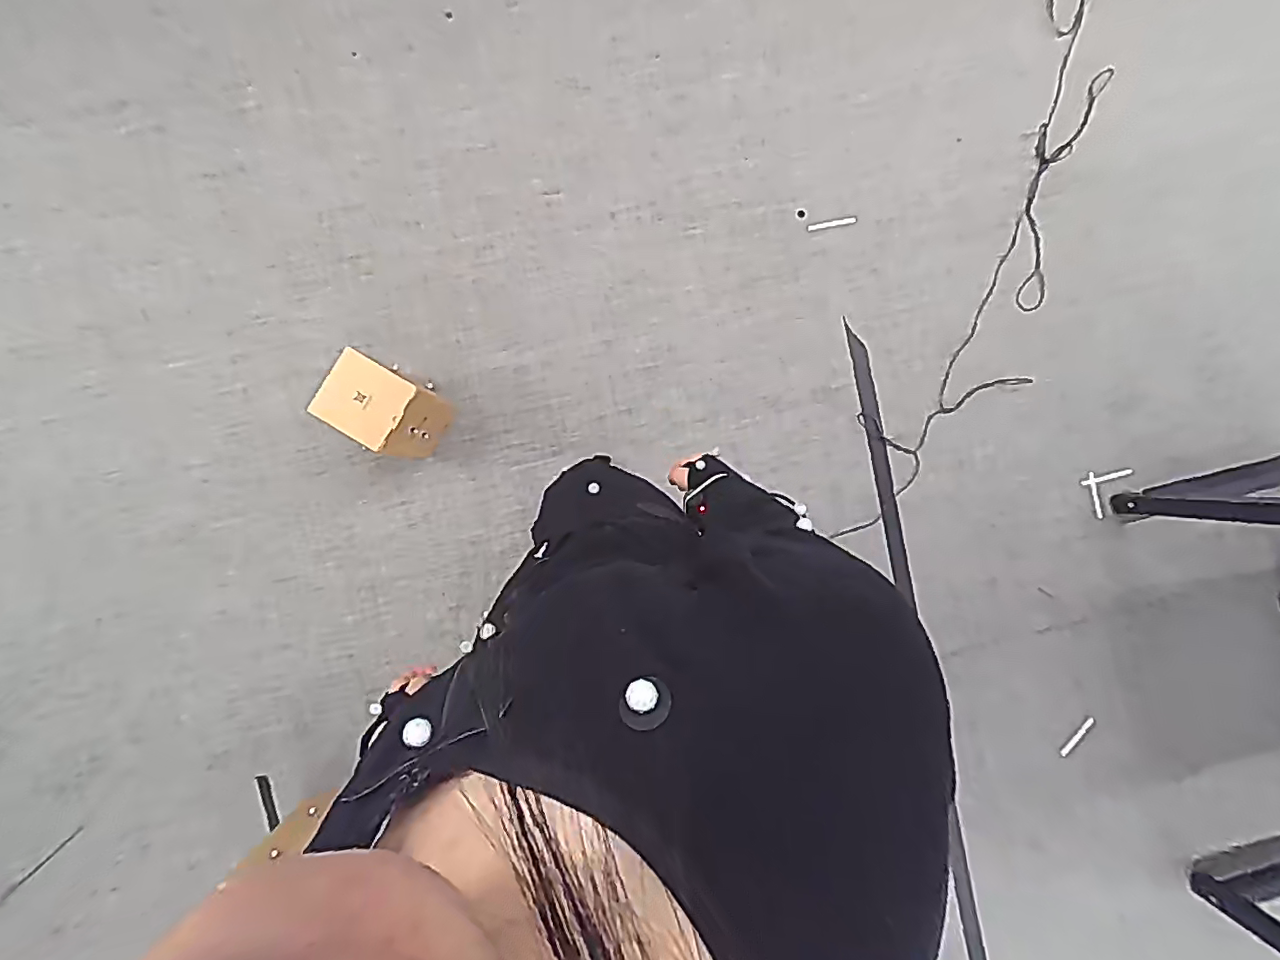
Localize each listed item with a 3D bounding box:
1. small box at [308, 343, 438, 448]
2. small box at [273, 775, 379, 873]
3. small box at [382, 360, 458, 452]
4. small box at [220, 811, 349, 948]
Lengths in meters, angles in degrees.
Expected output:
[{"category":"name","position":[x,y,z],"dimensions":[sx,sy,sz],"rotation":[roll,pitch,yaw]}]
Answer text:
[{"category":"small box","position":[-0.596,-0.181,1.232],"dimensions":[0.179,0.176,0.168],"rotation":[31,88,-4]},{"category":"small box","position":[-0.804,0.904,1.402],"dimensions":[0.179,0.176,0.168],"rotation":[-17,91,-1]},{"category":"small box","position":[-0.605,-0.181,1.395],"dimensions":[0.179,0.176,0.168],"rotation":[32,89,-2]},{"category":"small box","position":[-0.797,0.901,1.237],"dimensions":[0.179,0.176,0.168],"rotation":[-16,91,-2]}]
